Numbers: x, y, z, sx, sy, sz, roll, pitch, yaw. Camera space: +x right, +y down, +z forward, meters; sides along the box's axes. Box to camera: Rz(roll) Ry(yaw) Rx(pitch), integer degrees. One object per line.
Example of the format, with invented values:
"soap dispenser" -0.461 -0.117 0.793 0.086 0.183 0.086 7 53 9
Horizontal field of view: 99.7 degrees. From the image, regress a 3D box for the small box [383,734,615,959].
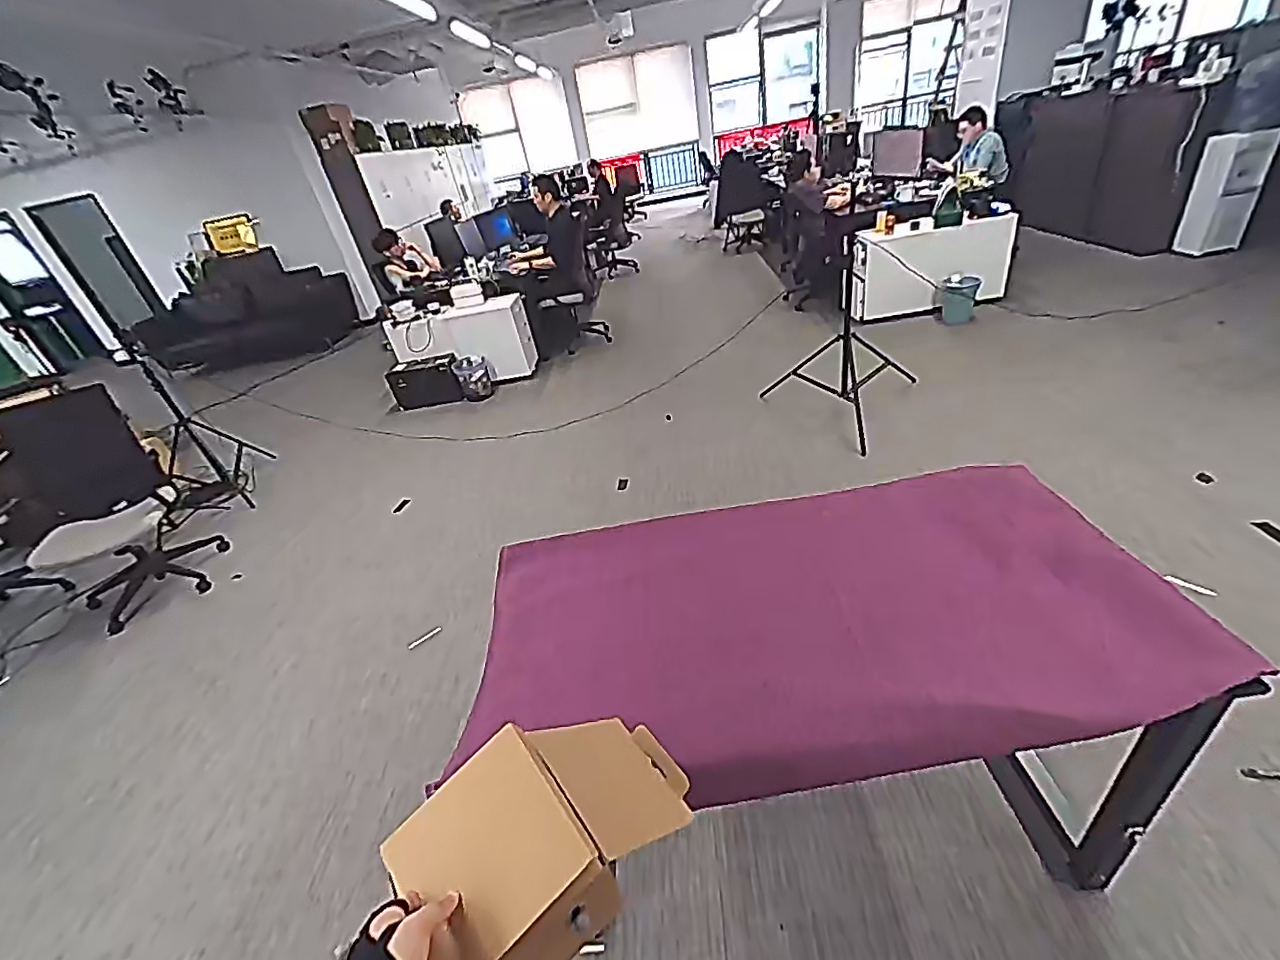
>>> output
"small box" -0.141 0.428 0.589 0.179 0.176 0.168 -31 46 -24
